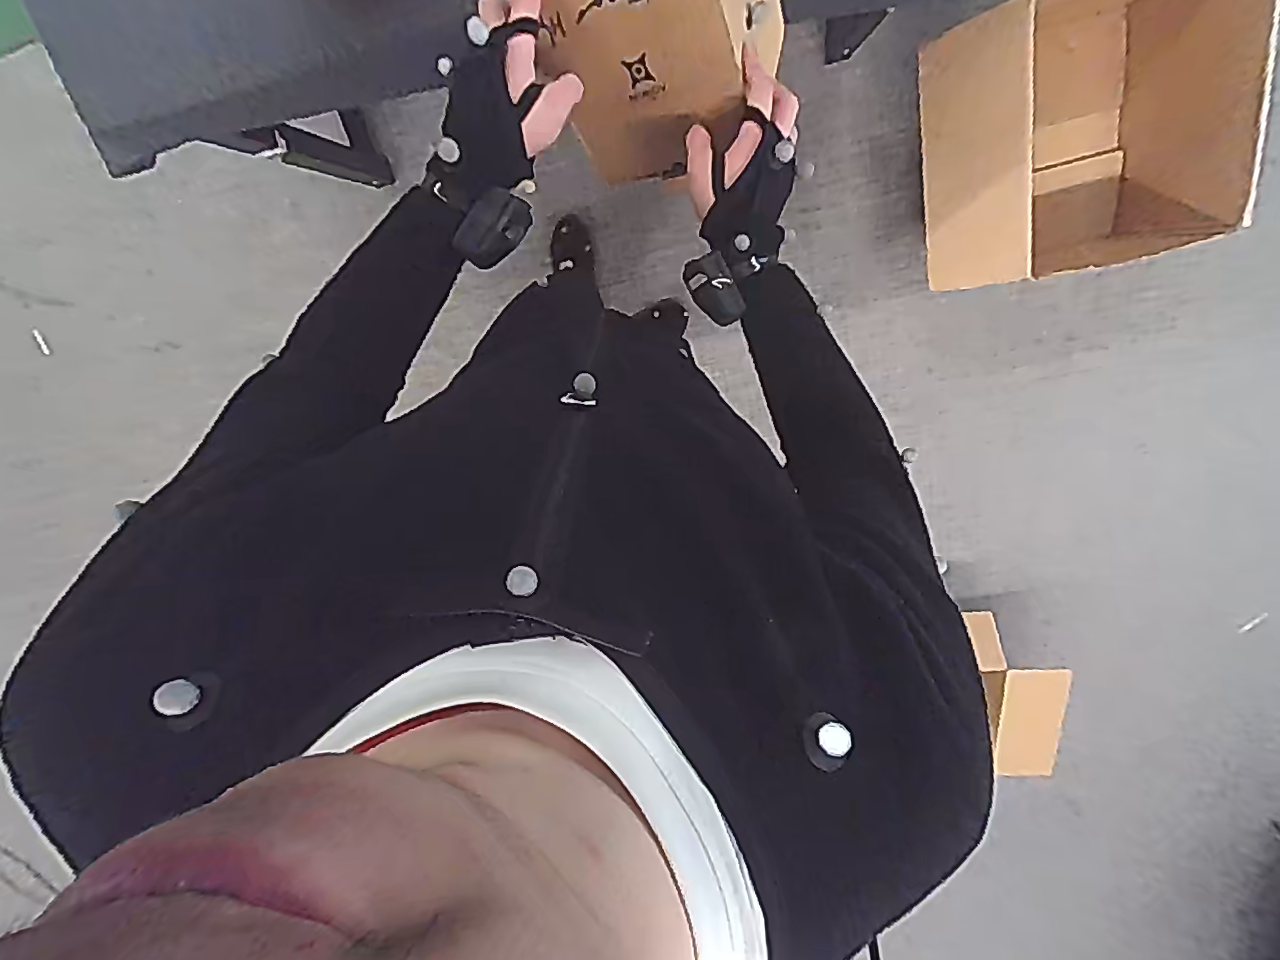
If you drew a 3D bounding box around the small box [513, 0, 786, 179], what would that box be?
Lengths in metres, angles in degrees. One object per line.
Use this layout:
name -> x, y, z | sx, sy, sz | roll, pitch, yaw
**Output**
small box -> 0.024, -0.415, 0.478 | 0.168, 0.179, 0.176 | 3, 68, 28
